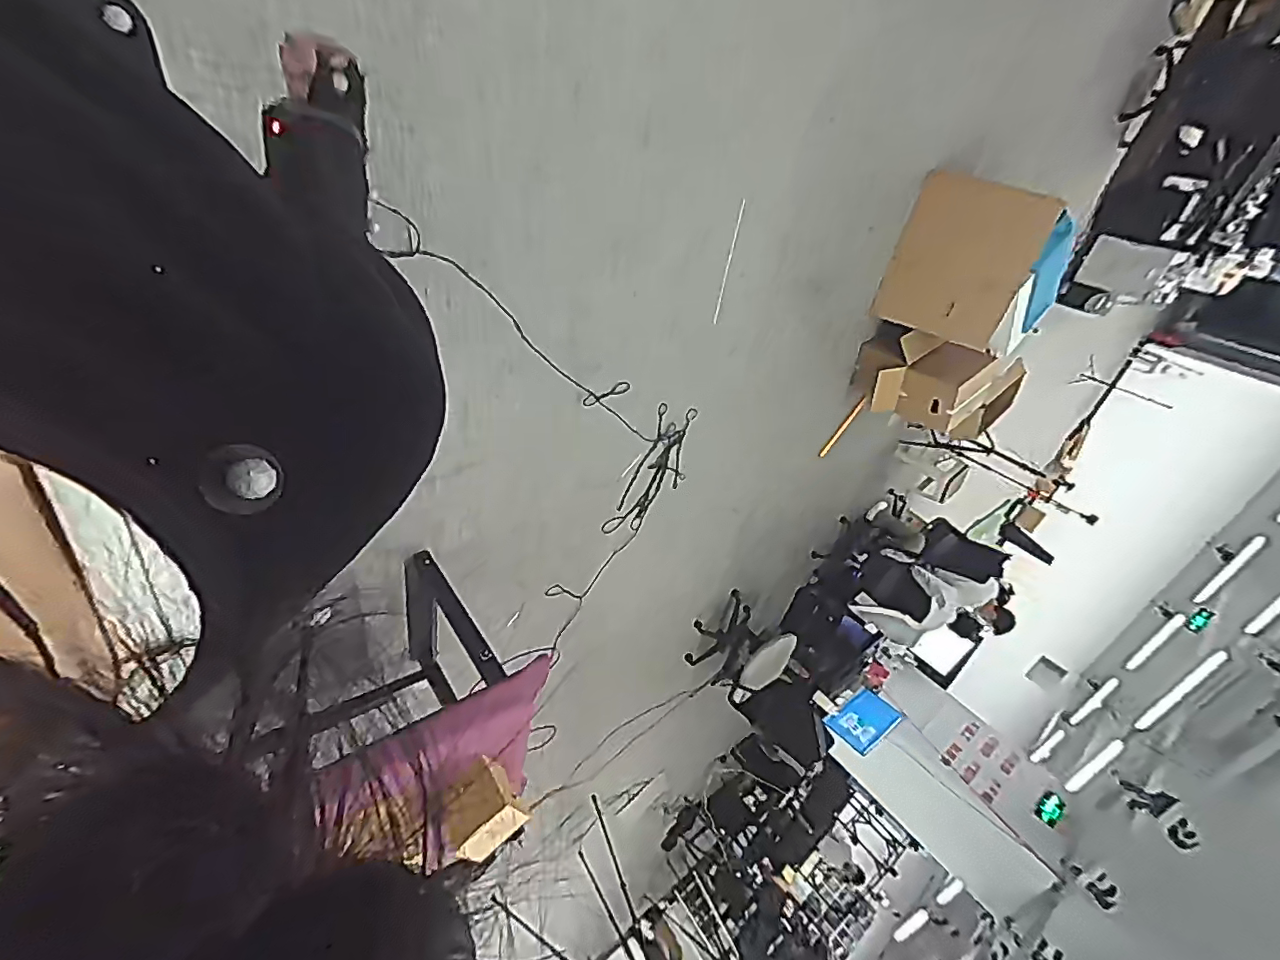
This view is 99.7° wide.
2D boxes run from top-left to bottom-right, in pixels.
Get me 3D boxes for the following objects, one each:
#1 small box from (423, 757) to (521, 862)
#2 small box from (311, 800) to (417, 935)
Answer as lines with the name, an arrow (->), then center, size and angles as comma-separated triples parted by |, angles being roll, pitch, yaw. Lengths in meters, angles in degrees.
small box -> -0.454, 0.888, 1.464 | 0.168, 0.176, 0.179 | -37, 141, -18
small box -> -0.649, 0.890, 1.266 | 0.168, 0.176, 0.179 | -3, 124, -46
